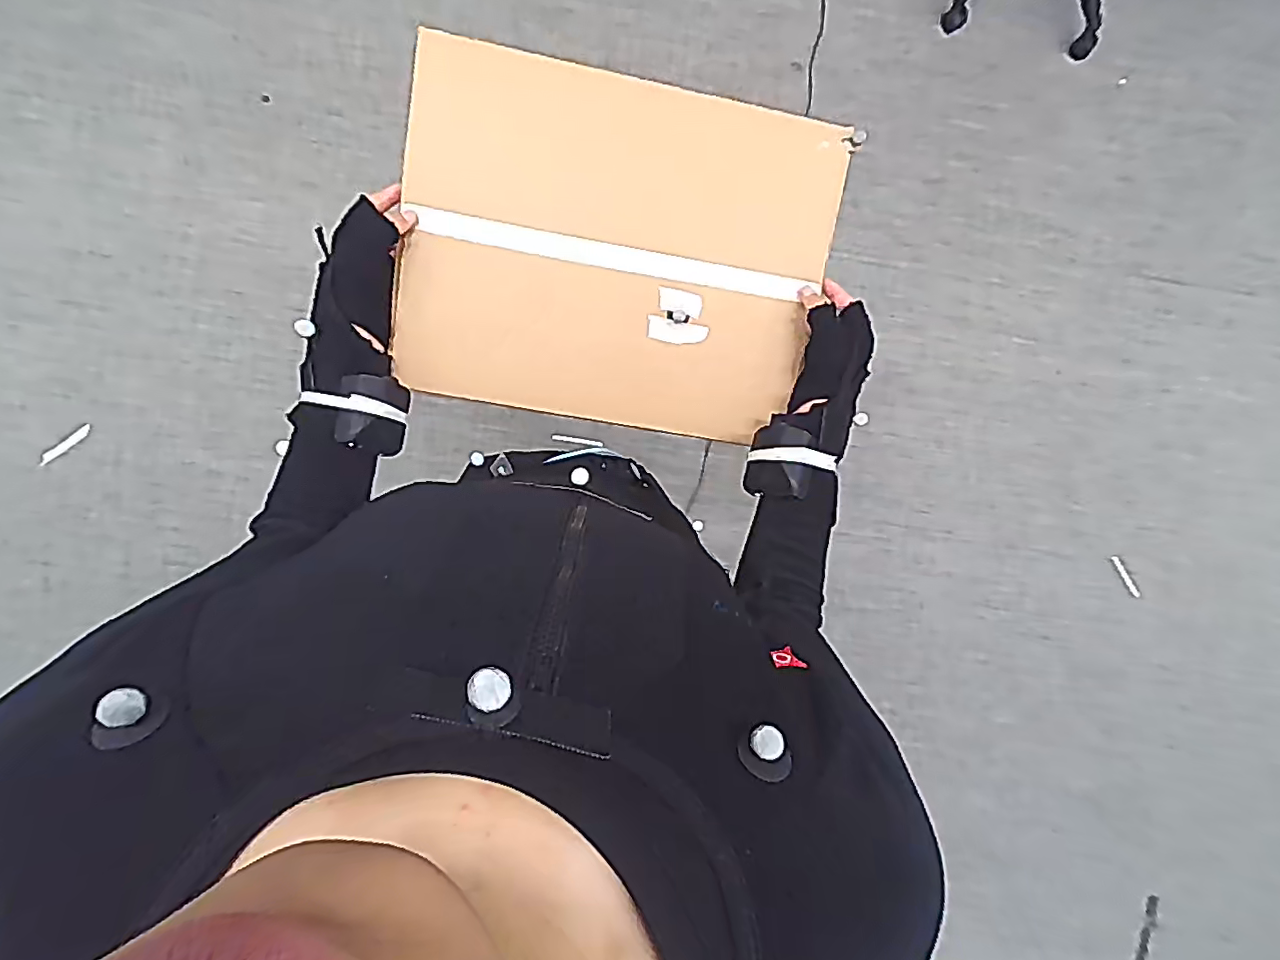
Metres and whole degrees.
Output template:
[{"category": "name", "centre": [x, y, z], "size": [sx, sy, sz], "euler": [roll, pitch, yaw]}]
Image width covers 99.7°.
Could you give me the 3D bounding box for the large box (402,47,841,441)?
[{"category": "large box", "centre": [-0.034, -0.243, 0.679], "size": [0.408, 0.320, 0.320], "euler": [9, 100, -7]}]
